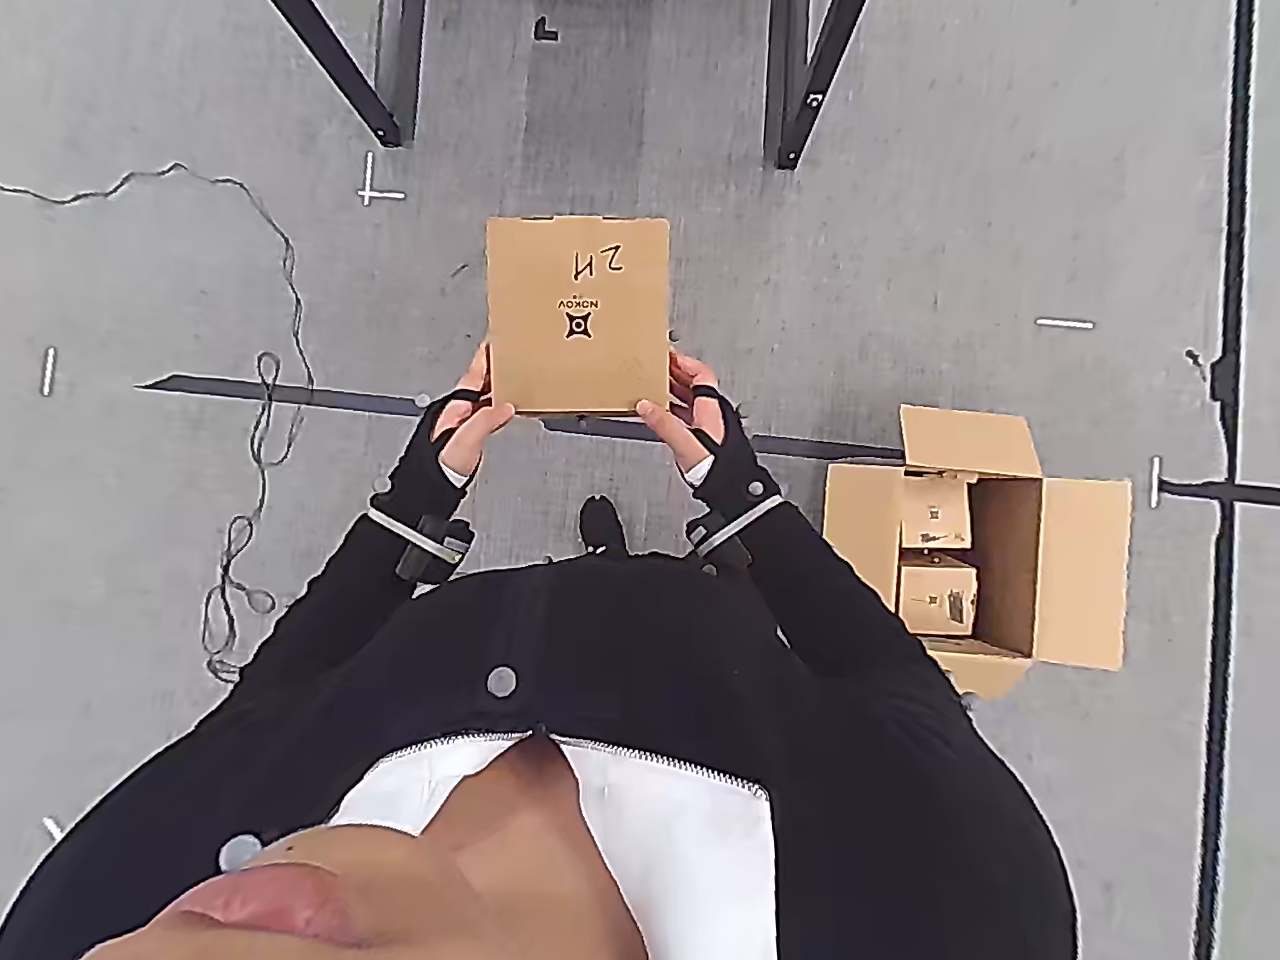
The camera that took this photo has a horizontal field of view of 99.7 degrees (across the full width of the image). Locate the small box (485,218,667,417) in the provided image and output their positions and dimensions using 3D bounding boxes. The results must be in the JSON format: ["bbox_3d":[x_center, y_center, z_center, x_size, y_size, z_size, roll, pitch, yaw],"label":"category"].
[{"bbox_3d":[-0.059,-0.155,0.570,0.168,0.176,0.179,-1,95,-2],"label":"small box"}]
